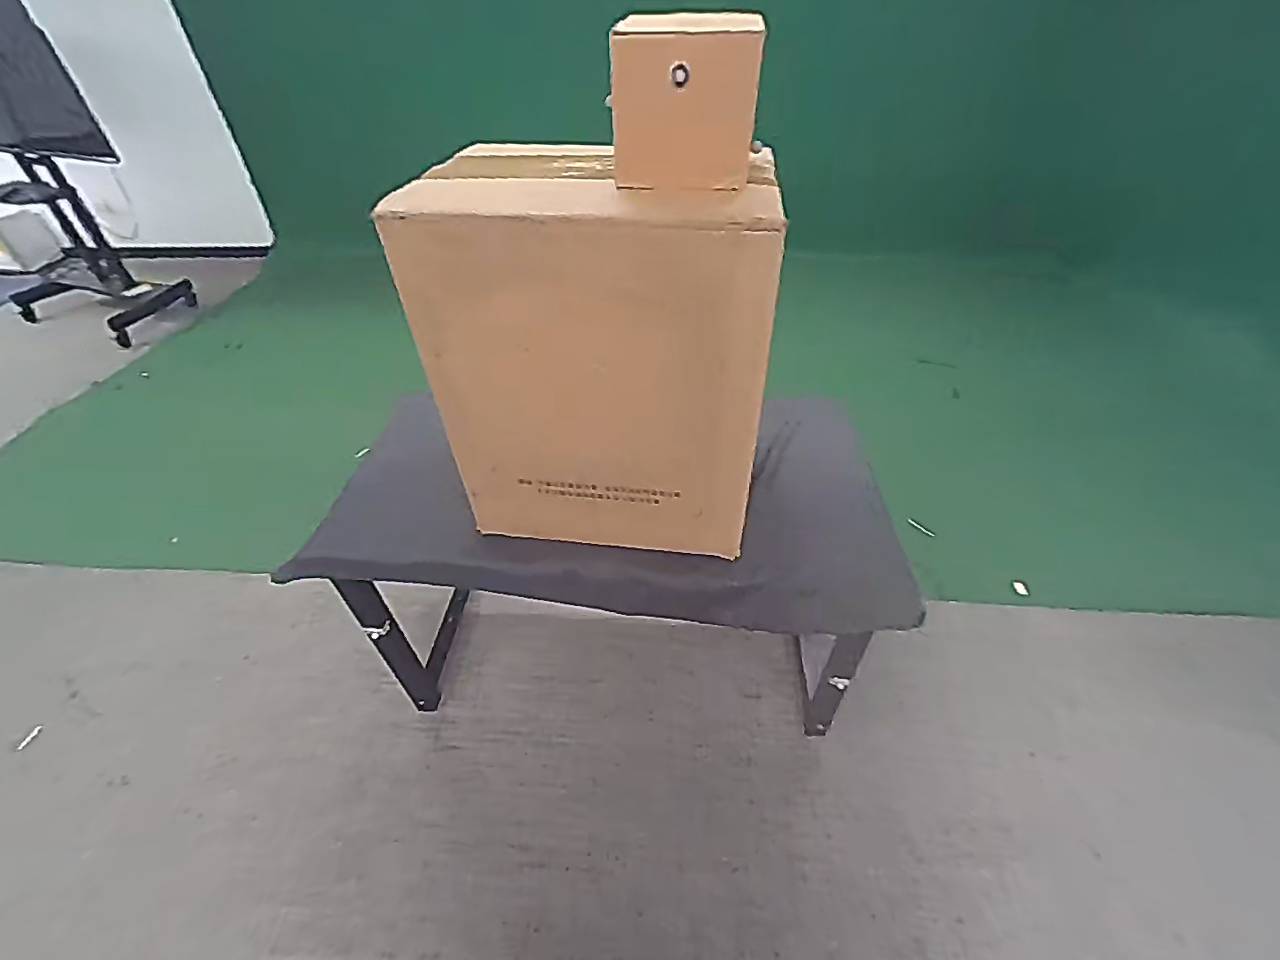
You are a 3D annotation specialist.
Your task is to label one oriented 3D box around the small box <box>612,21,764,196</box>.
[{"bbox_3d":[0.063,-0.497,0.725,0.179,0.176,0.168,6,46,4],"label":"small box"}]
